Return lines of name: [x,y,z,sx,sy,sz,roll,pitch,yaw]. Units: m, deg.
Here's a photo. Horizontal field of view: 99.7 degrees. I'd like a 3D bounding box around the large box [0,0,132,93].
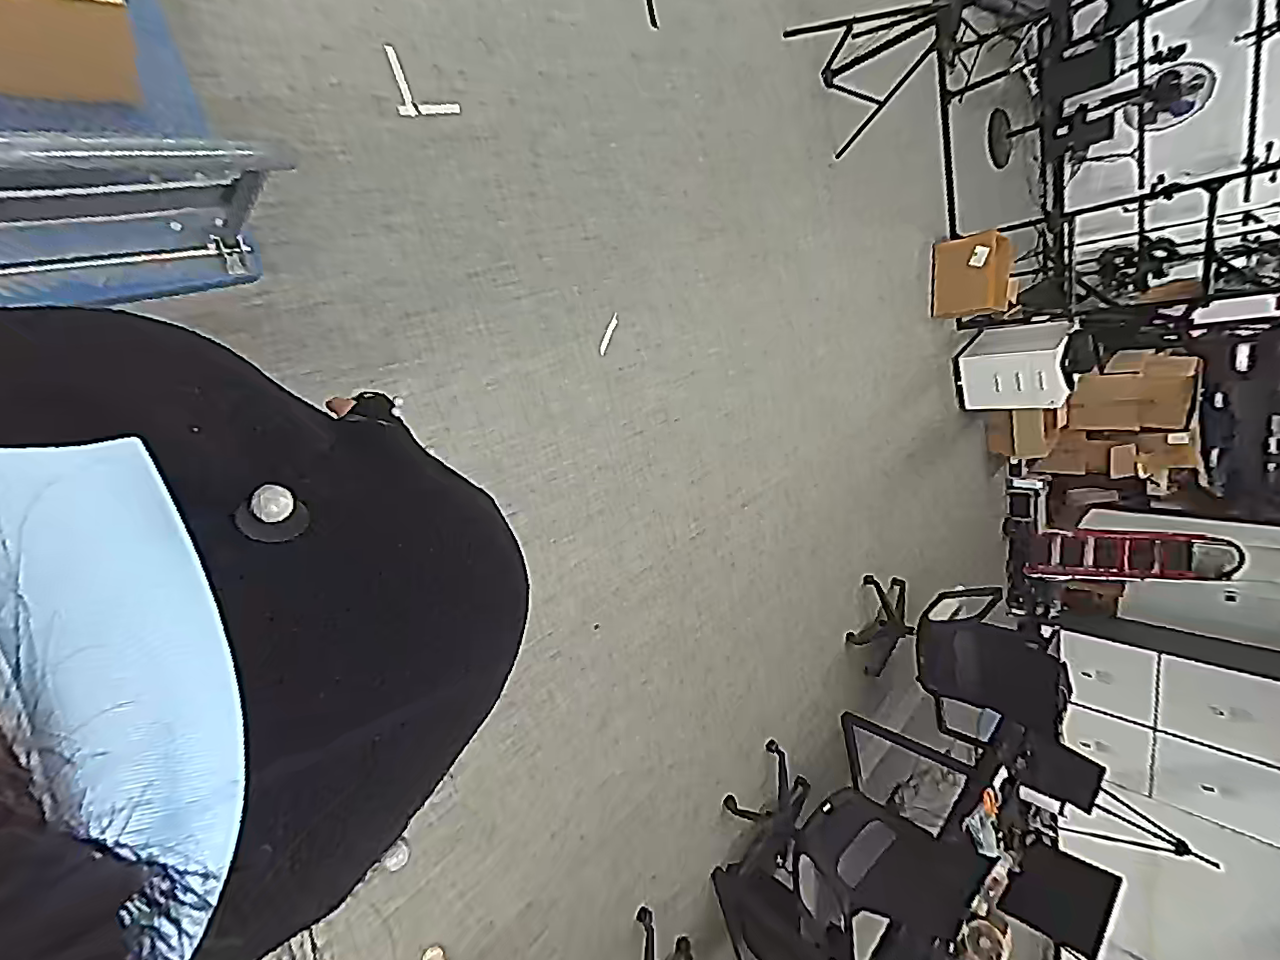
large box: [-0.979,-0.739,0.686,0.408,0.320,0.320,-24,109,-35]
